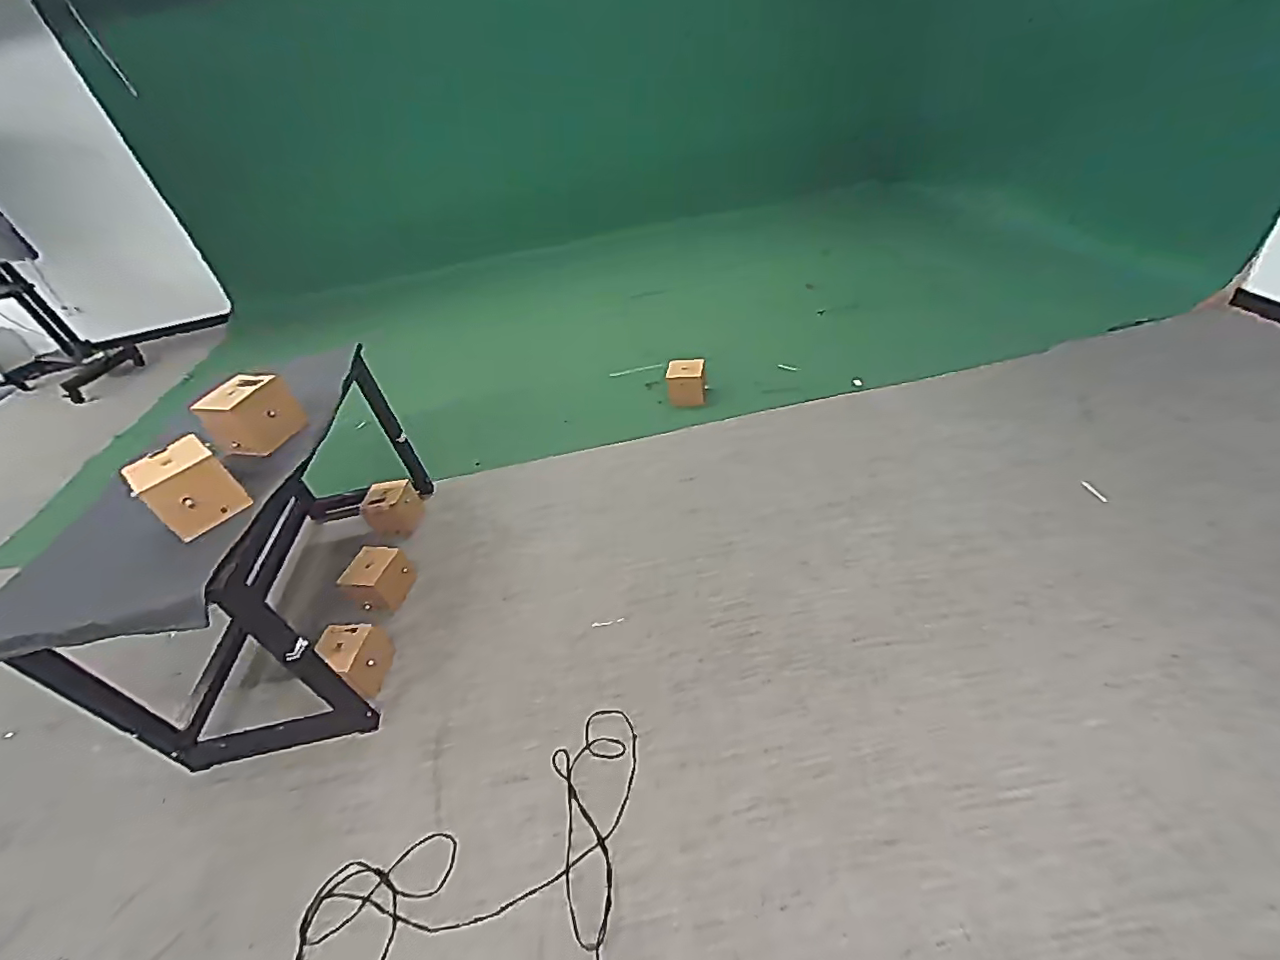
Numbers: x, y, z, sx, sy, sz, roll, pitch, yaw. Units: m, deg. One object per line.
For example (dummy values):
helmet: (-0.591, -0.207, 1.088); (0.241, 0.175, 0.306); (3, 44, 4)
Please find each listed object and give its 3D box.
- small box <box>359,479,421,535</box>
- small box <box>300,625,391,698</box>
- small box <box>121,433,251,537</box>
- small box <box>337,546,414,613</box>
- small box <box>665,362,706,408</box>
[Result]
small box: (-1.069, 0.124, 2.330); (0.168, 0.176, 0.179); (-8, 39, 4)
small box: (-0.945, 0.593, 1.755); (0.168, 0.176, 0.179); (-4, 42, 9)
small box: (-1.113, 0.016, 1.337); (0.179, 0.176, 0.168); (23, 51, 34)
small box: (-0.978, 0.372, 2.020); (0.168, 0.176, 0.179); (1, 43, 16)
small box: (0.231, -0.475, 2.717); (0.179, 0.176, 0.168); (1, 42, 14)
